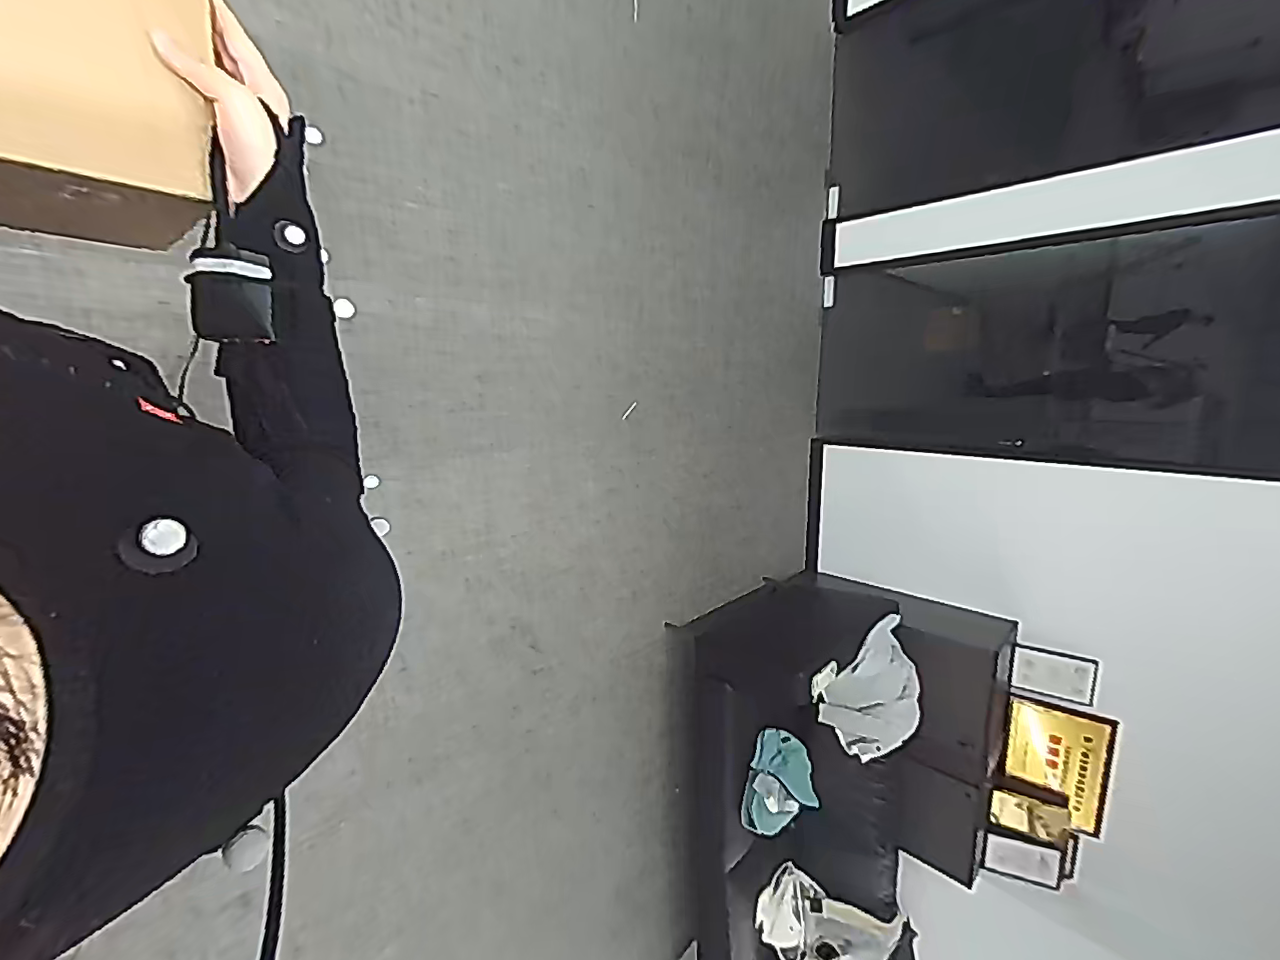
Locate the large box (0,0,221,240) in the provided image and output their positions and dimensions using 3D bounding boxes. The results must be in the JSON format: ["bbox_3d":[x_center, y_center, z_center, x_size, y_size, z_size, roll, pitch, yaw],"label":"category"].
[{"bbox_3d":[-0.554,-0.364,0.330,0.408,0.320,0.320,-10,108,-47],"label":"large box"}]
